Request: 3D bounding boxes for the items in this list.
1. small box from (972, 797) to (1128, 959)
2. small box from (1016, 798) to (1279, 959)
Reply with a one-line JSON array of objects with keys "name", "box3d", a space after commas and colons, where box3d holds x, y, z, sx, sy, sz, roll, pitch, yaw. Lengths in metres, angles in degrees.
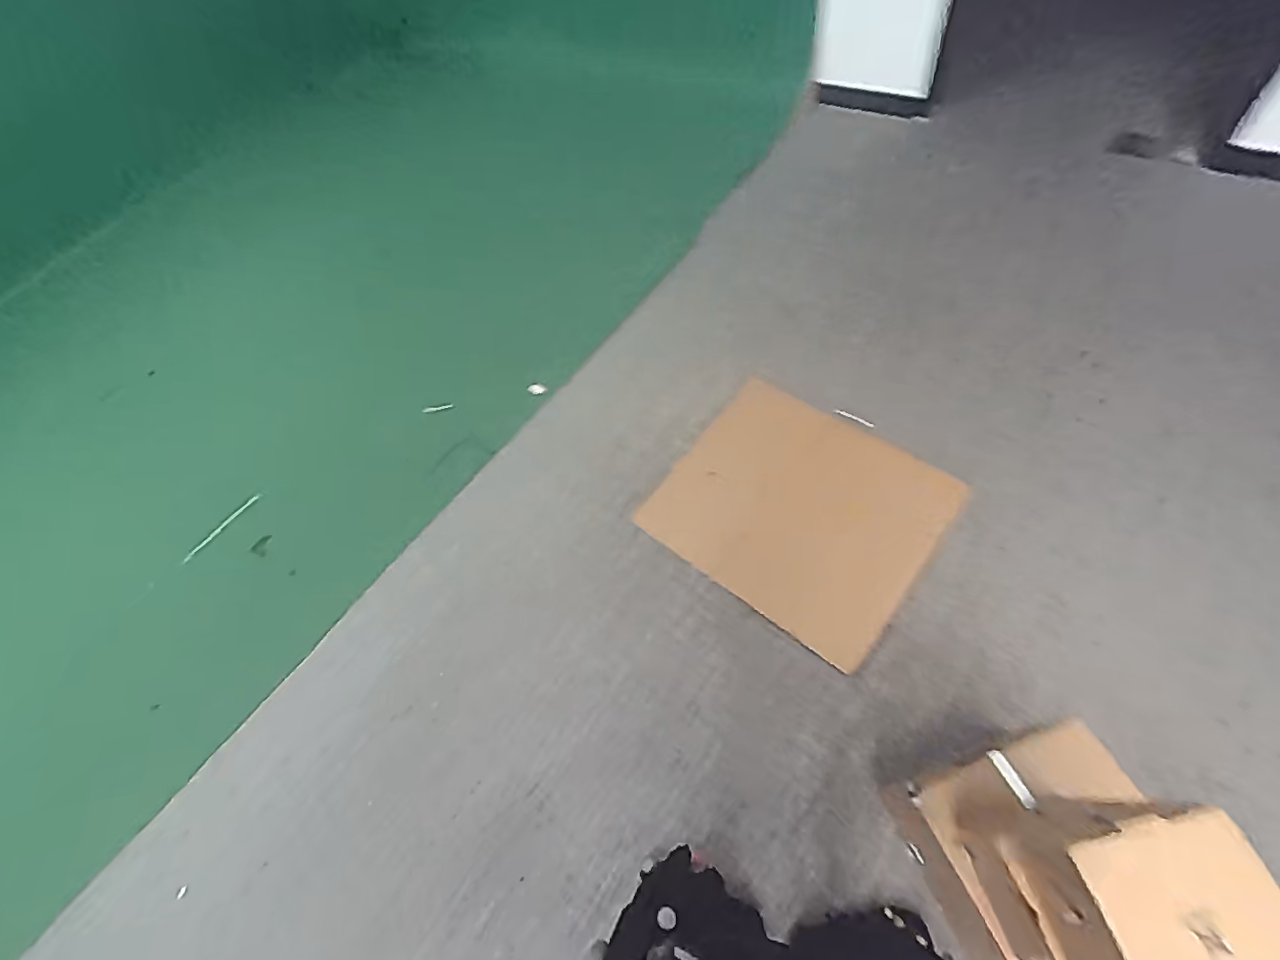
[{"name": "small box", "box3d": [0.584, 0.543, 0.730, 0.179, 0.176, 0.168, -18, 59, 3]}, {"name": "small box", "box3d": [0.563, 0.467, 0.589, 0.168, 0.176, 0.179, -19, 59, 1]}]
